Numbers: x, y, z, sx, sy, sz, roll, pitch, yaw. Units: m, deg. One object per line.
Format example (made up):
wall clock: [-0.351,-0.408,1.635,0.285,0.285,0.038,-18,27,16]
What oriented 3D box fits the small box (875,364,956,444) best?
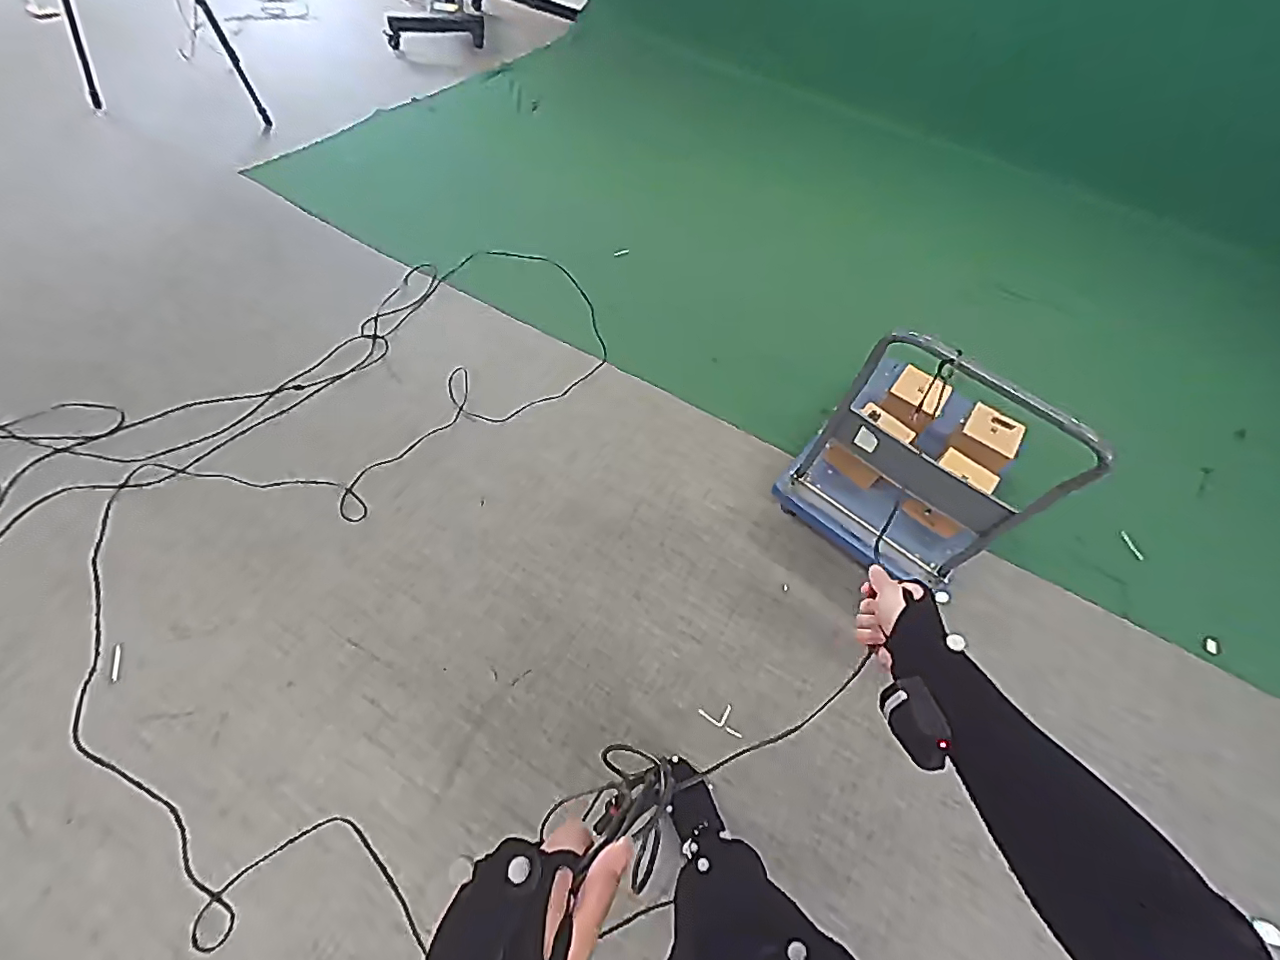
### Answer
small box: [0.938,-0.255,1.857,0.168,0.176,0.179,36,59,15]

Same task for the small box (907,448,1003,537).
small box: [0.960,0.041,1.662,0.168,0.176,0.179,39,60,18]

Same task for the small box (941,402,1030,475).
small box: [1.137,-0.117,1.790,0.168,0.176,0.179,35,60,16]
